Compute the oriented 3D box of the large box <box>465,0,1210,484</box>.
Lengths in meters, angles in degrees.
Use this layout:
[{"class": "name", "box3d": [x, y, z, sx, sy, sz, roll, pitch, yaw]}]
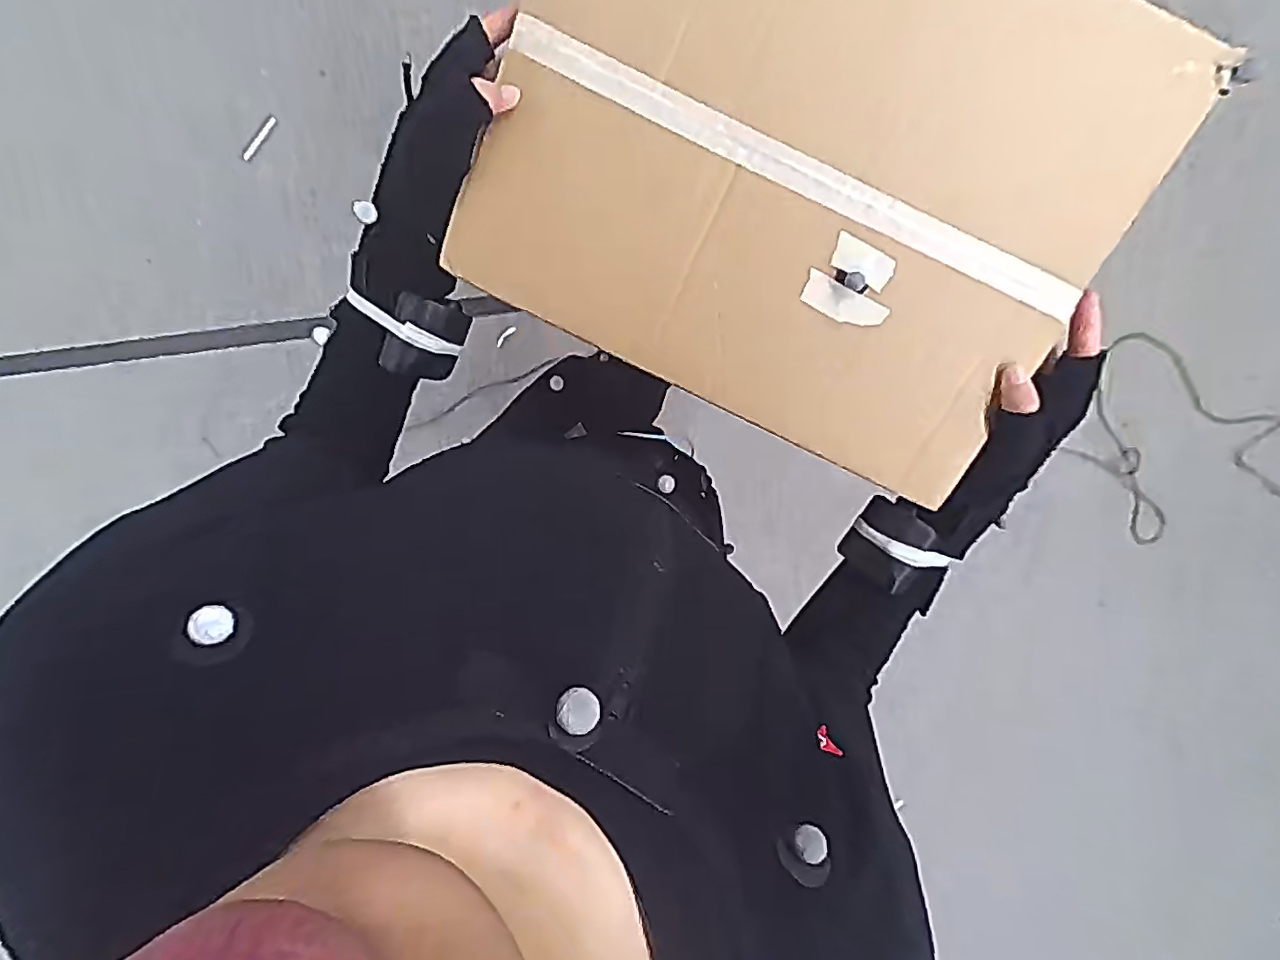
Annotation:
[{"class": "large box", "box3d": [0.121, -0.249, 0.509, 0.408, 0.320, 0.320, 26, 107, -2]}]
